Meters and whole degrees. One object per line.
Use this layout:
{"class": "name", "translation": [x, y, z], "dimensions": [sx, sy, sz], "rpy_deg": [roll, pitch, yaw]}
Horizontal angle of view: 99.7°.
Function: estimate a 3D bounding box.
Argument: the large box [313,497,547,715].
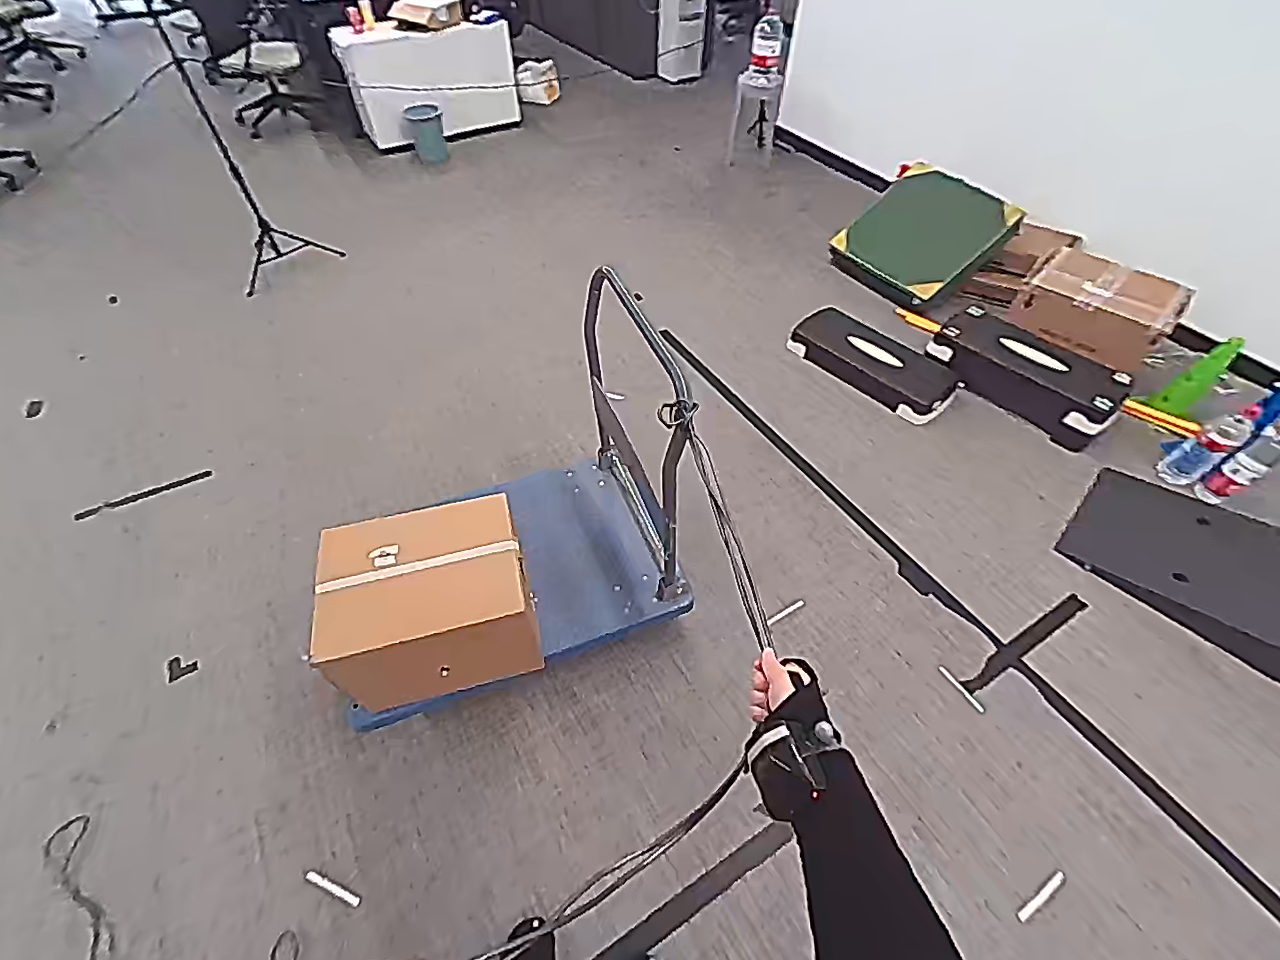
{"class": "large box", "translation": [-0.454, 0.288, 1.234], "dimensions": [0.408, 0.320, 0.320], "rpy_deg": [-12, 51, -10]}
